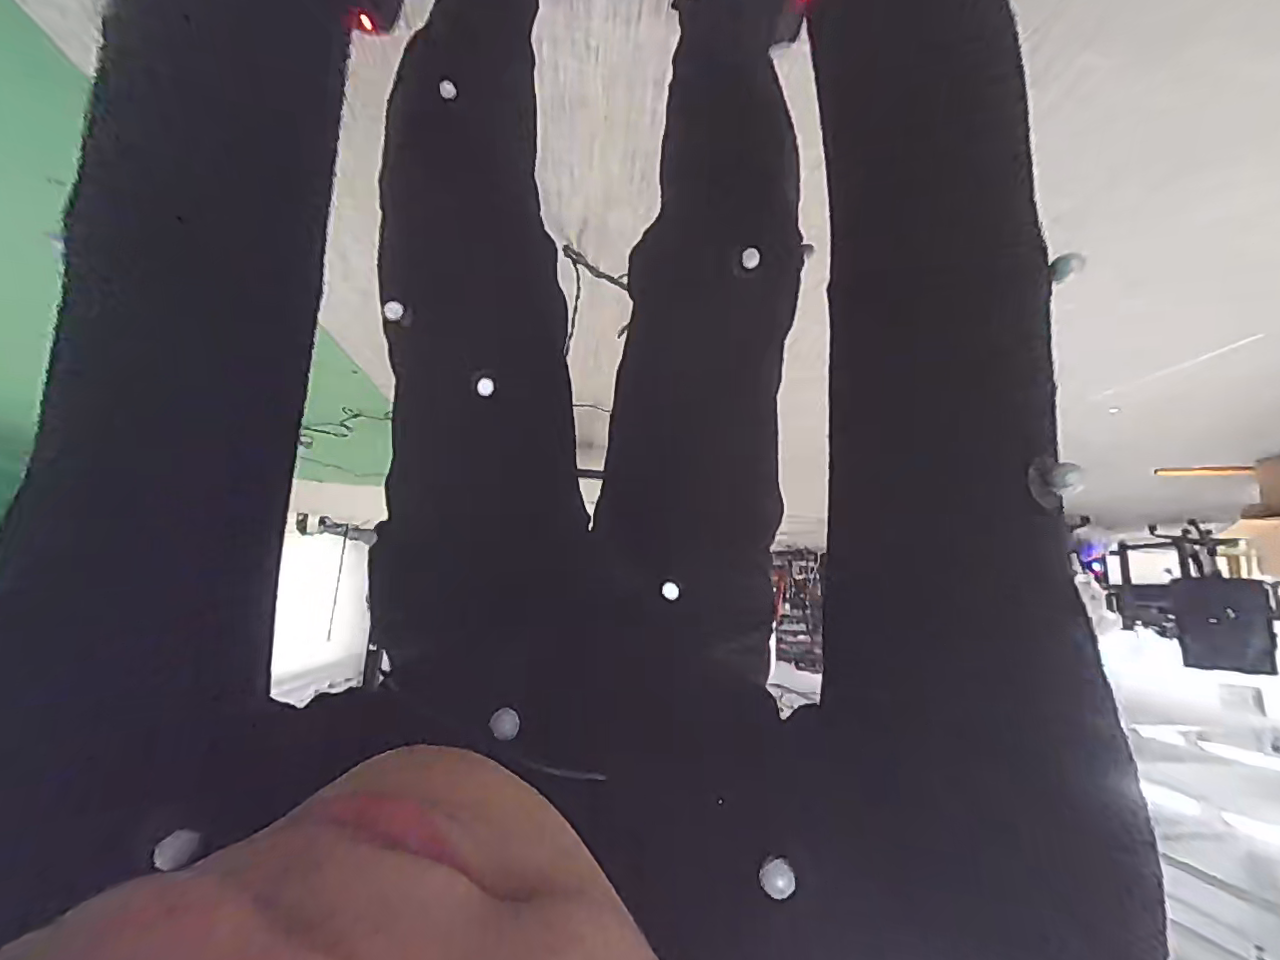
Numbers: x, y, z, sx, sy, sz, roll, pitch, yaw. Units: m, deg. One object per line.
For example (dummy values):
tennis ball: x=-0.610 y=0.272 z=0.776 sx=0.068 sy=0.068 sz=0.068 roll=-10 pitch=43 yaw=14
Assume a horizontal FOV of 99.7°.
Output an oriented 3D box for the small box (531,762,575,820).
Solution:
small box: x=-0.360 y=1.286 z=2.243 sx=0.168 sy=0.176 sz=0.179 roll=5 pitch=168 yaw=-6
